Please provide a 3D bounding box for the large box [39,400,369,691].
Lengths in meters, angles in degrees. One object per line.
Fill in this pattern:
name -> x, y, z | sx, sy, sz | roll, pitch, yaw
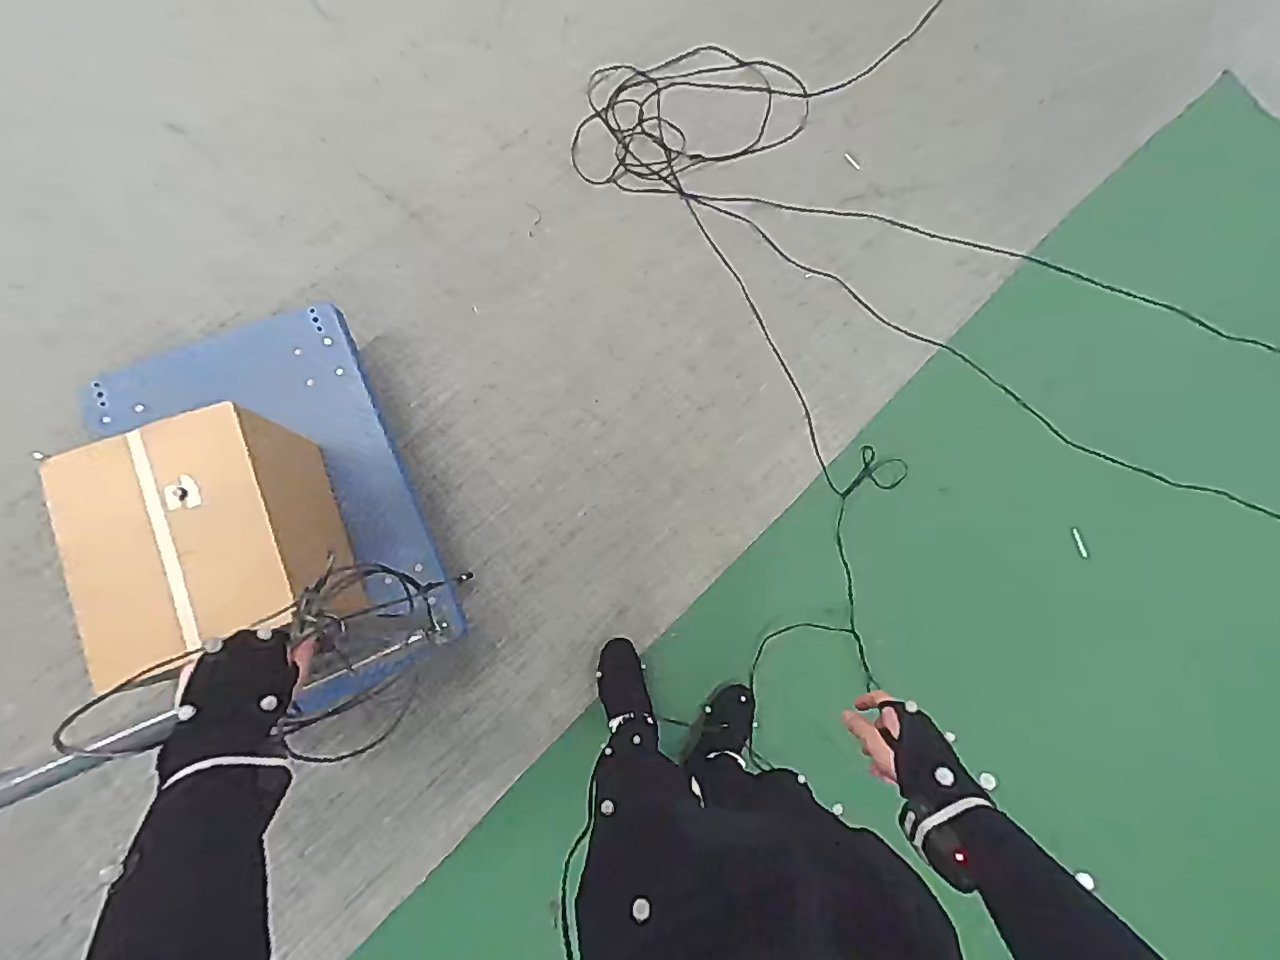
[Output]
large box -> -0.780, 0.121, 1.026 | 0.320, 0.320, 0.408 | -21, 82, -10
